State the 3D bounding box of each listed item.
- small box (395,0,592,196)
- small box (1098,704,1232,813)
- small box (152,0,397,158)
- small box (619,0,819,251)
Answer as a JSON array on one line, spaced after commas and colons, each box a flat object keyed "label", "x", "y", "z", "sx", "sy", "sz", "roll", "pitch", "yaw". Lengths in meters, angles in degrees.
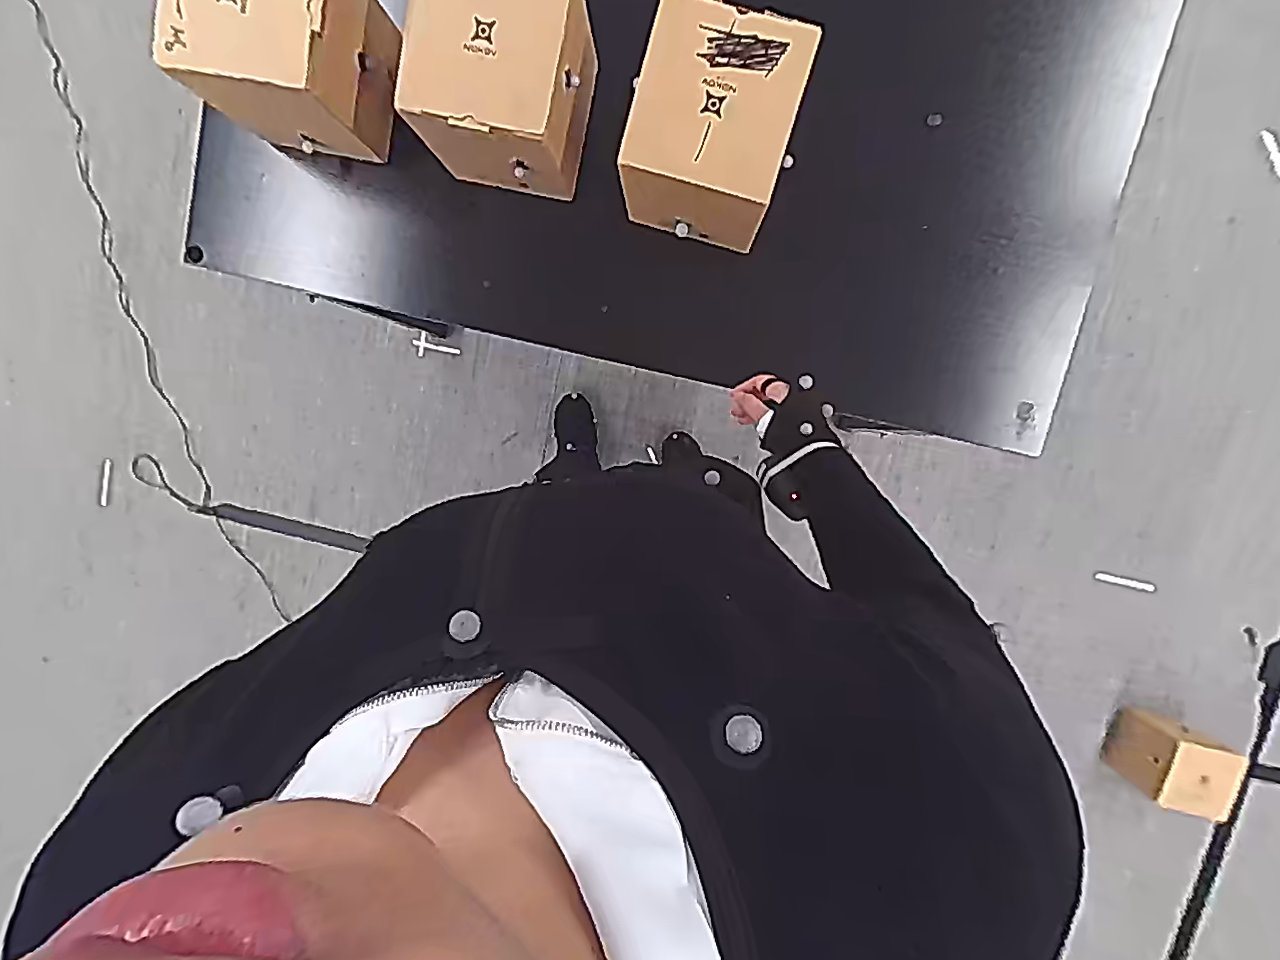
[{"label": "small box", "x": -0.158, "y": -0.465, "z": 0.636, "sx": 0.168, "sy": 0.176, "sz": 0.179, "roll": 12, "pitch": 96, "yaw": 1}, {"label": "small box", "x": 1.356, "y": 0.717, "z": 1.411, "sx": 0.168, "sy": 0.176, "sz": 0.179, "roll": 13, "pitch": 97, "yaw": 3}, {"label": "small box", "x": -0.415, "y": -0.515, "z": 0.643, "sx": 0.179, "sy": 0.176, "sz": 0.168, "roll": 11, "pitch": 96, "yaw": 1}, {"label": "small box", "x": 0.082, "y": -0.397, "z": 0.629, "sx": 0.168, "sy": 0.176, "sz": 0.179, "roll": 17, "pitch": 97, "yaw": 1}]
